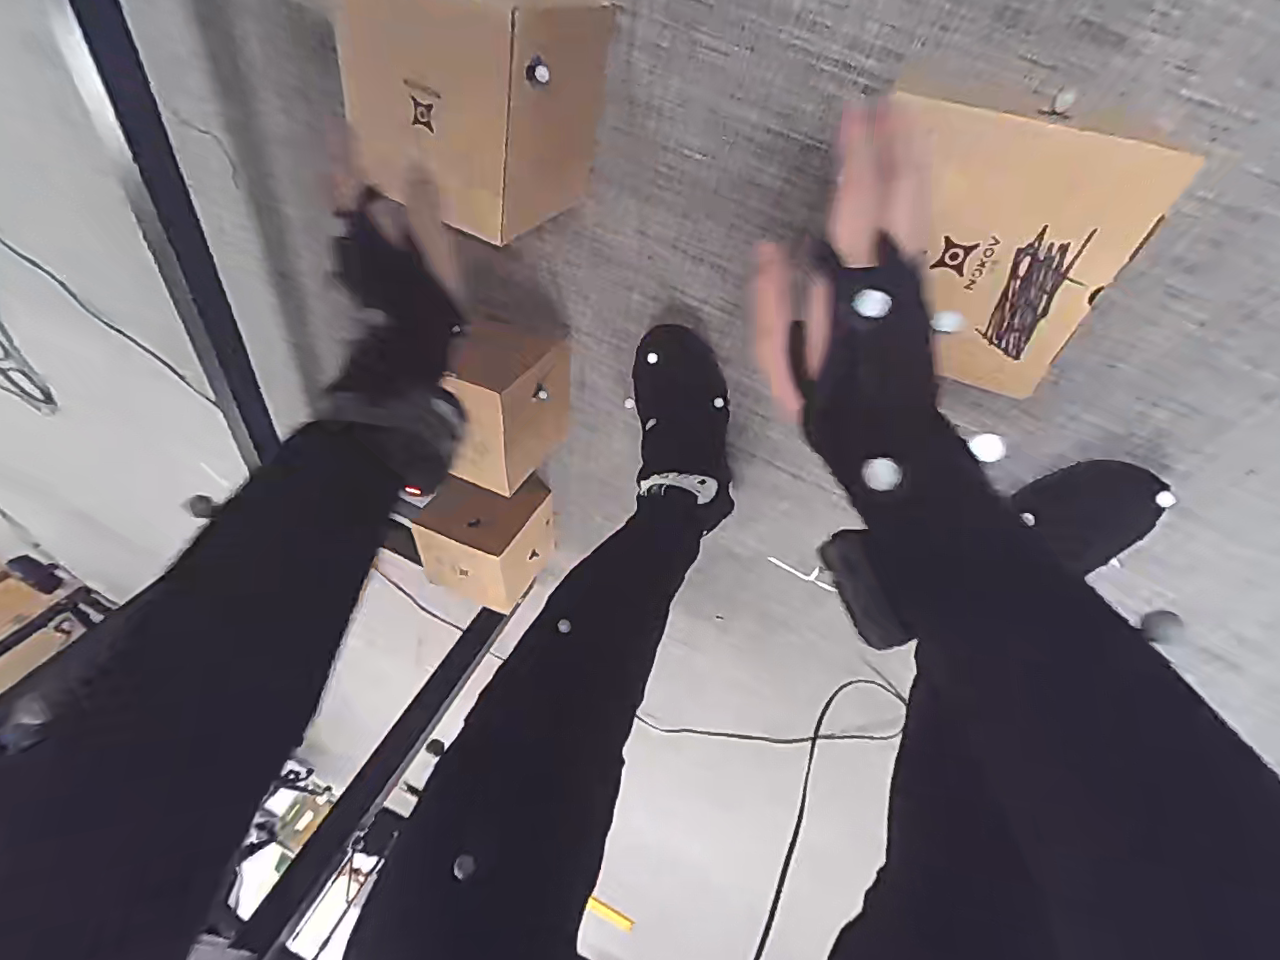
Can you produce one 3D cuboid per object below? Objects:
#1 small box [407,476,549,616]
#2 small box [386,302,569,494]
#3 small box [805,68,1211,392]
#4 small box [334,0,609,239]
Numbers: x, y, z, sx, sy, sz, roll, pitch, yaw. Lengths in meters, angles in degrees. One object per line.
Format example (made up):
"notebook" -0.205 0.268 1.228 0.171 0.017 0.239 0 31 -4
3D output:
"small box" -0.273 0.102 0.957 0.179 0.176 0.168 19 134 13
"small box" -0.207 -0.118 0.737 0.168 0.176 0.179 21 135 12
"small box" 0.253 -0.201 0.419 0.179 0.176 0.168 22 134 11
"small box" -0.144 -0.359 0.499 0.168 0.176 0.179 26 134 7
